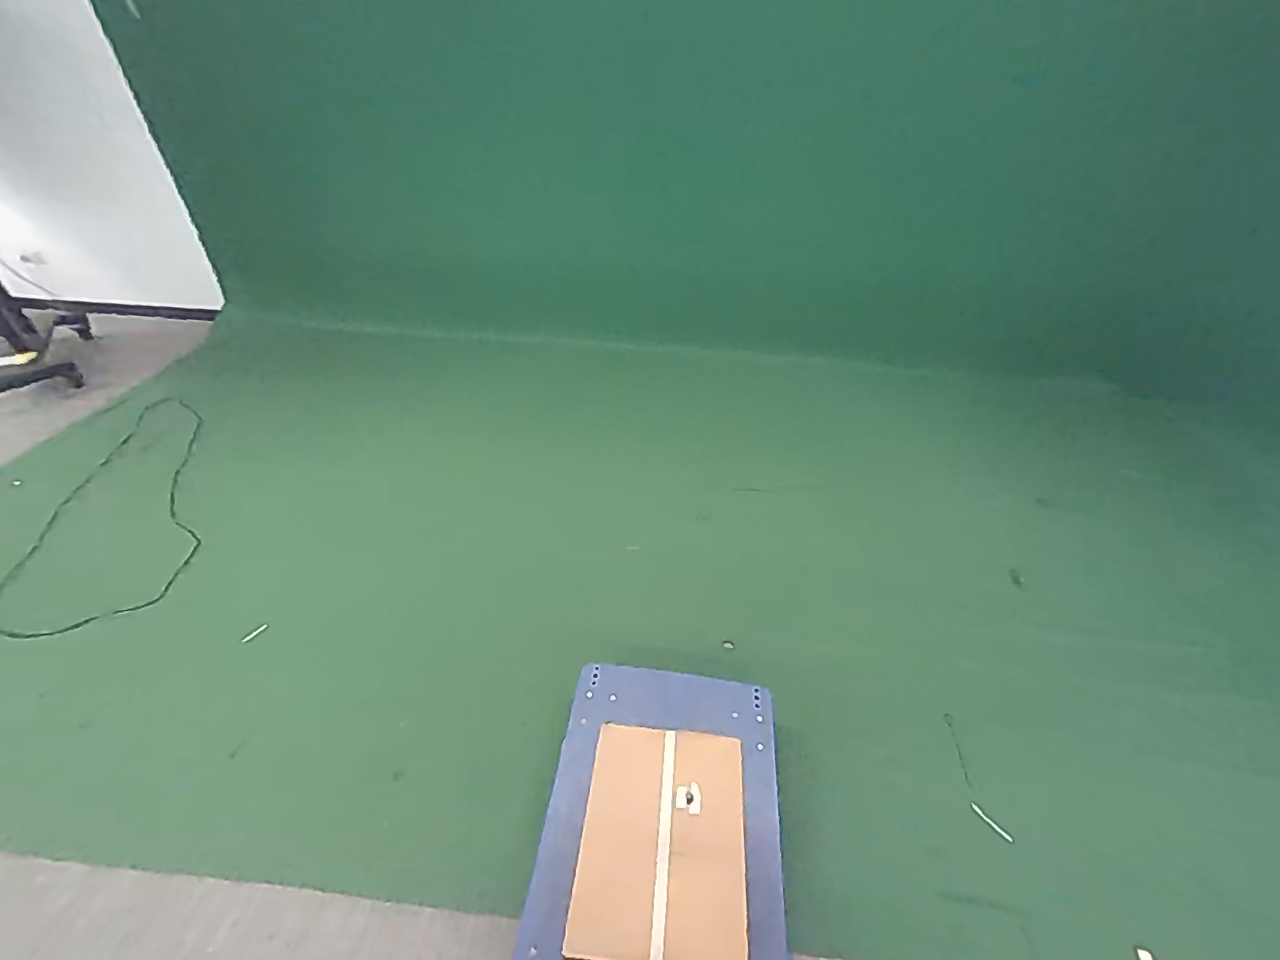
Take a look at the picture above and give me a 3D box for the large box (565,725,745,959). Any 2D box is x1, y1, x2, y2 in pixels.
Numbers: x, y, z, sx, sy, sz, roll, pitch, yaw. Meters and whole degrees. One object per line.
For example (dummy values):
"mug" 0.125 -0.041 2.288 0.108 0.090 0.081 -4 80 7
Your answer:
"large box" 0.038 0.802 1.148 0.320 0.320 0.408 5 39 4
